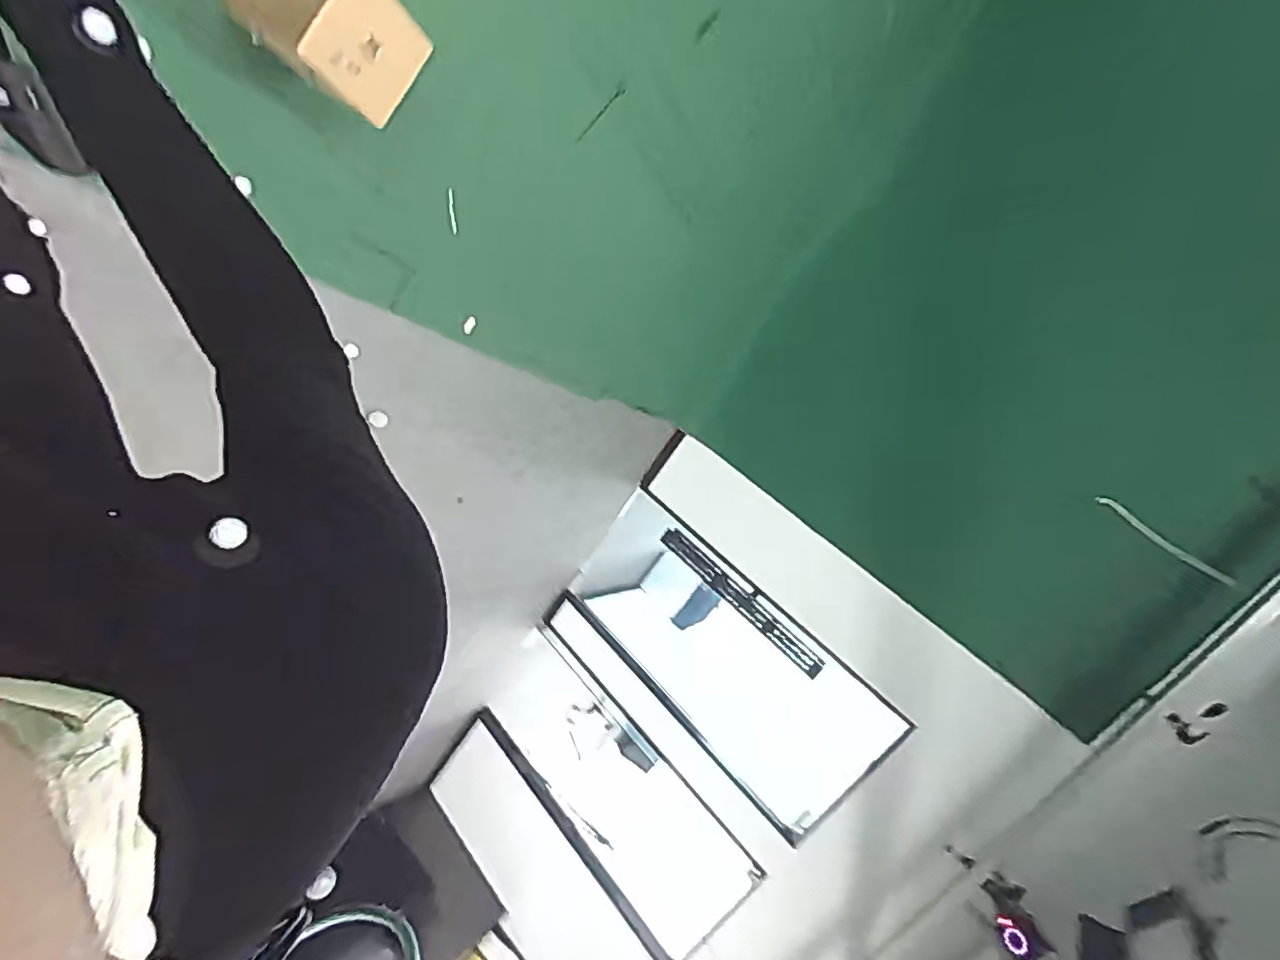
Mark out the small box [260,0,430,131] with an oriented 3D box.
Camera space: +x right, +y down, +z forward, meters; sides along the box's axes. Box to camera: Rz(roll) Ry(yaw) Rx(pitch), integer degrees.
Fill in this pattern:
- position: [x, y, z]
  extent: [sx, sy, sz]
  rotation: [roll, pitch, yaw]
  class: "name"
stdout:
- position: [-0.516, -0.769, 0.943]
  extent: [0.179, 0.176, 0.168]
  rotation: [-52, 156, 6]
  class: "small box"
